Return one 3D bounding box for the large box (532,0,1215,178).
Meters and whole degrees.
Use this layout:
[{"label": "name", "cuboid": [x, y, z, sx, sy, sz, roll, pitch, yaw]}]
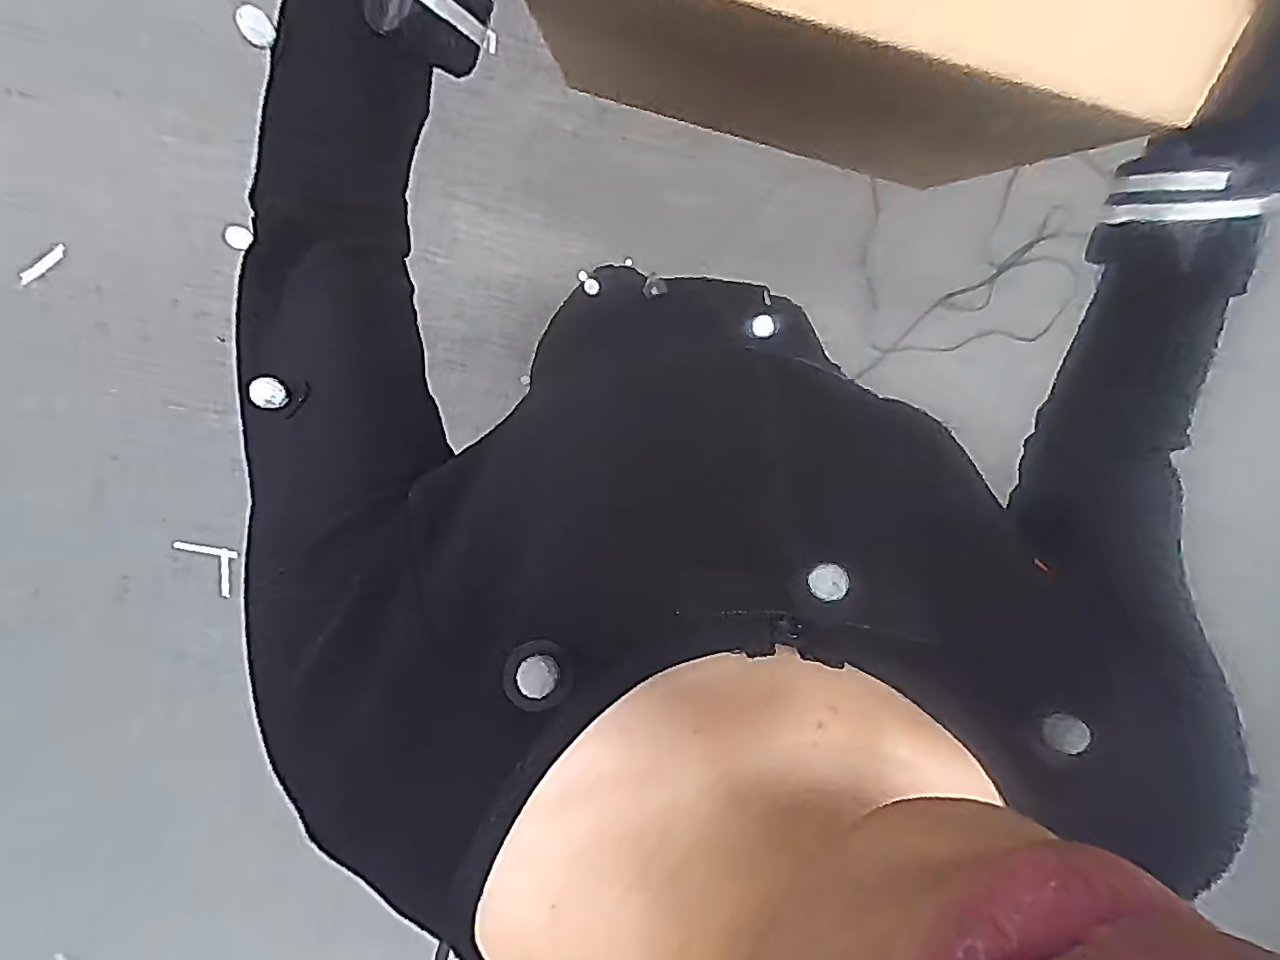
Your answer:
[{"label": "large box", "cuboid": [0.145, -0.450, 0.386, 0.408, 0.320, 0.320, 12, 112, -5]}]
